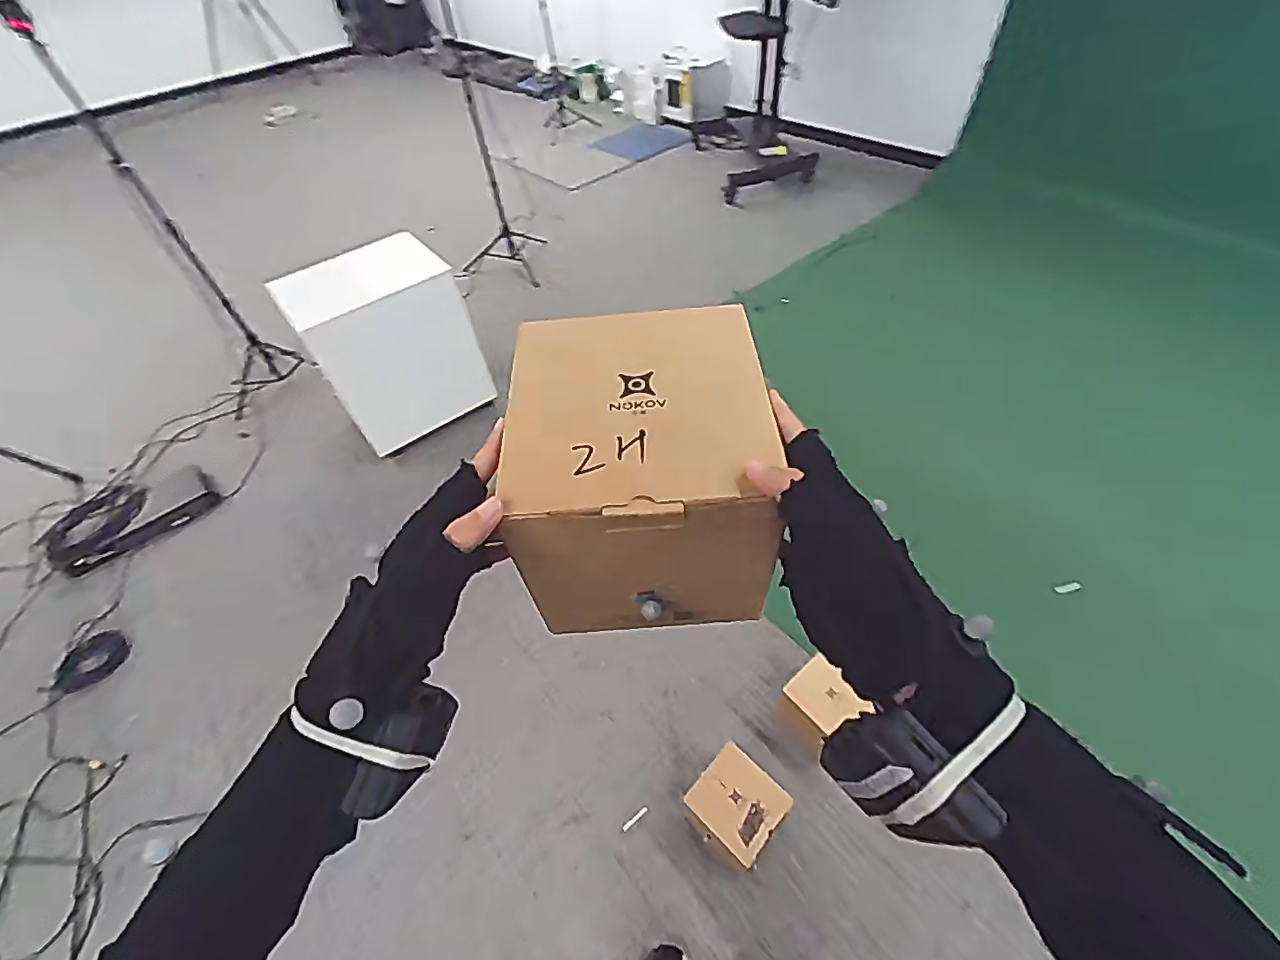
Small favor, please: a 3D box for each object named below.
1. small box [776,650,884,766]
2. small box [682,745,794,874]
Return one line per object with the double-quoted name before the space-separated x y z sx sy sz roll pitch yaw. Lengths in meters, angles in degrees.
"small box" 0.454 0.561 1.324 0.168 0.176 0.179 -35 56 -22
"small box" 0.211 0.732 1.195 0.179 0.176 0.168 35 60 30
